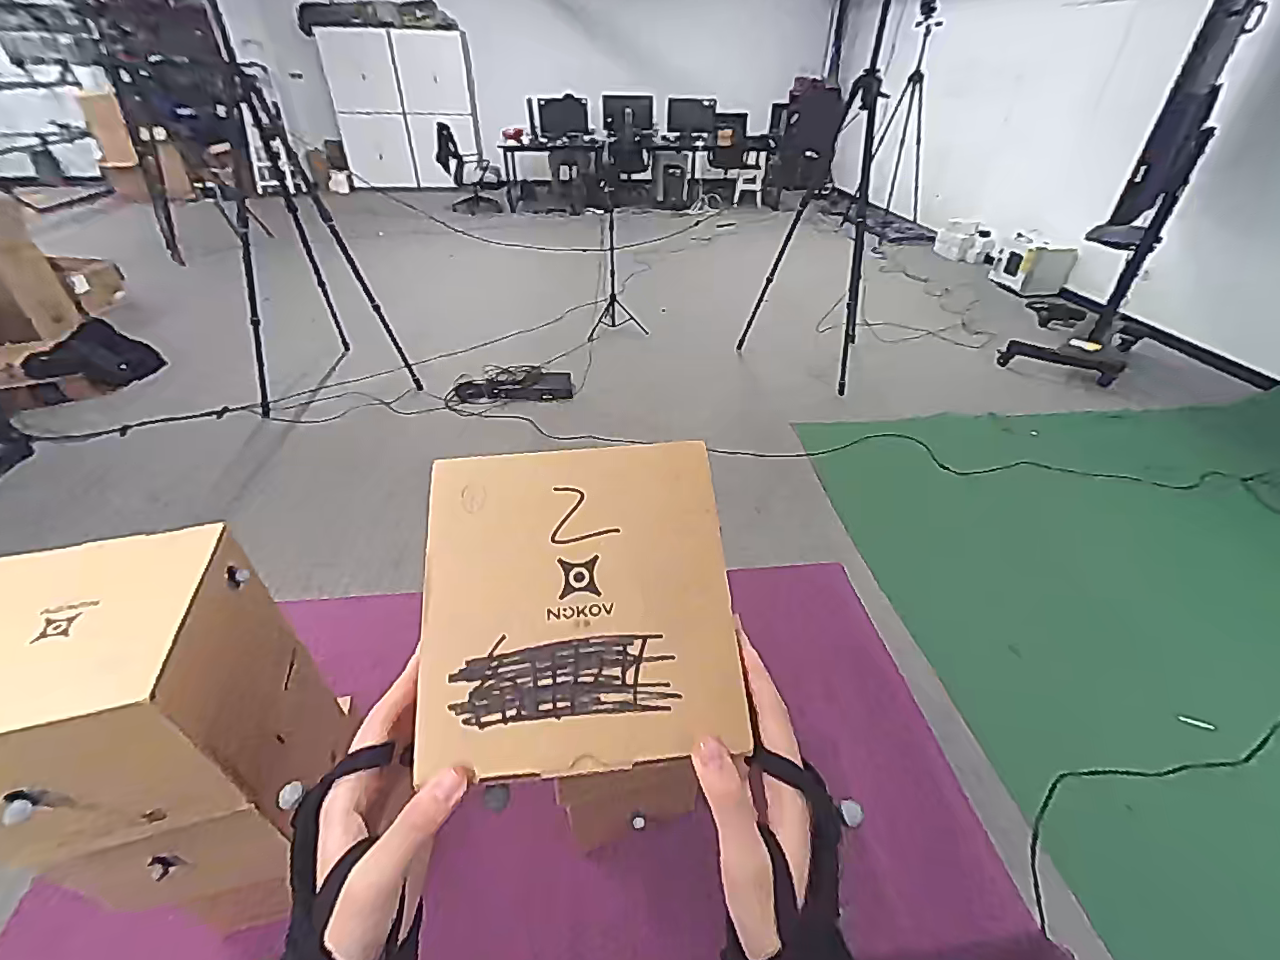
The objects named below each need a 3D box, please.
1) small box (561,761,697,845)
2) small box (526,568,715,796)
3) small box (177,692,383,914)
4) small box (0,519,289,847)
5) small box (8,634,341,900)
[{"bbox_3d":[-0.035,0.347,0.732,0.168,0.176,0.179,-12,39,-15],"label":"small box"},{"bbox_3d":[-0.027,0.229,0.617,0.179,0.176,0.168,-8,39,-11],"label":"small box"},{"bbox_3d":[-0.431,0.398,0.665,0.168,0.176,0.179,-7,38,-11],"label":"small box"},{"bbox_3d":[-0.415,0.162,0.436,0.168,0.176,0.179,-9,38,-14],"label":"small box"},{"bbox_3d":[-0.428,0.284,0.544,0.179,0.176,0.168,-7,38,-11],"label":"small box"}]
